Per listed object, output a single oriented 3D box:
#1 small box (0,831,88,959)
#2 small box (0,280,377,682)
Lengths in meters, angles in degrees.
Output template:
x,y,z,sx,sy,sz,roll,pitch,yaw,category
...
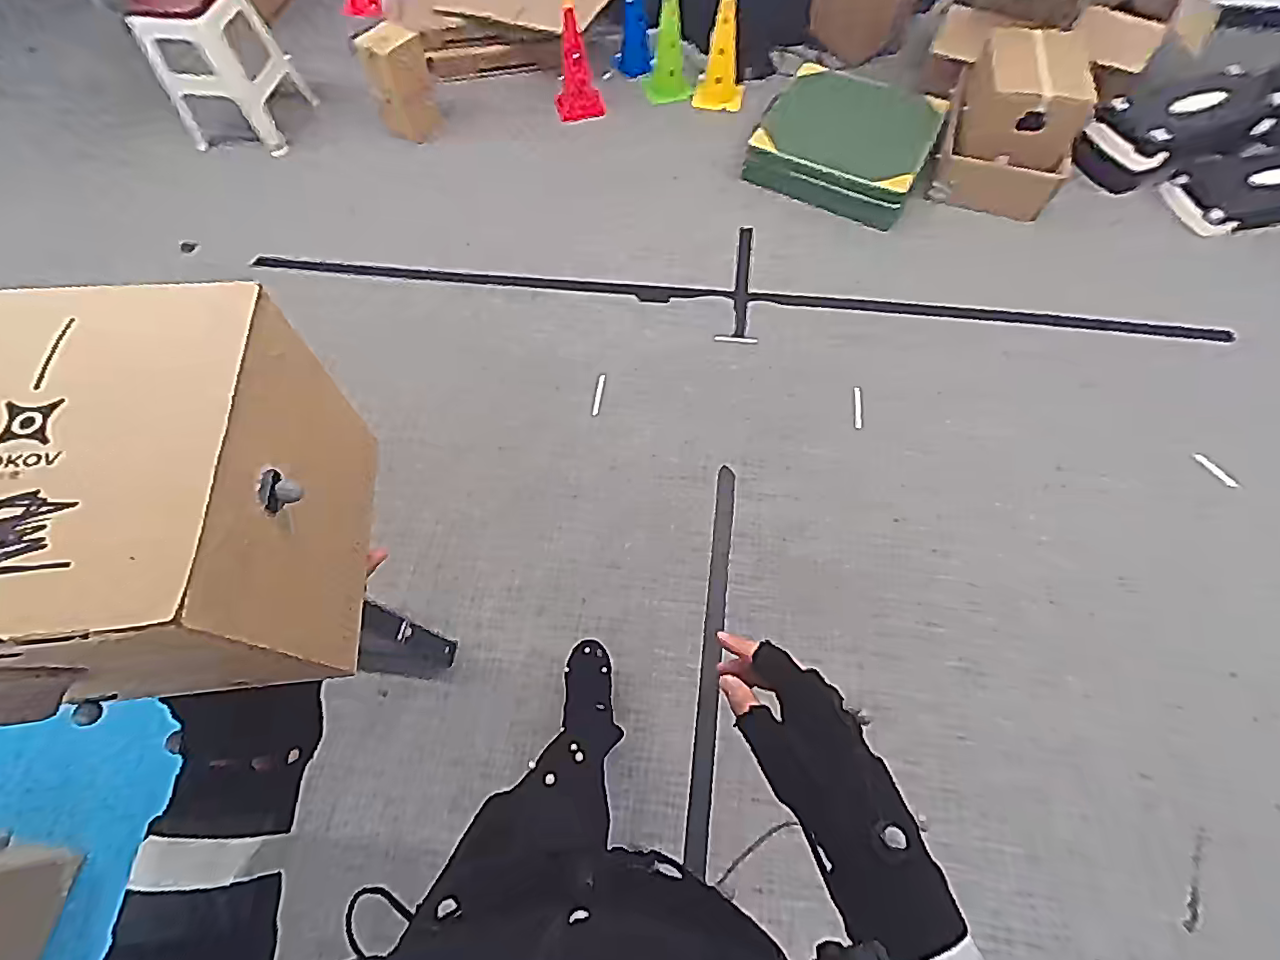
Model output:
x,y,z,sx,sy,sz,roll,pitch,yaw,category
-0.673,0.434,0.481,0.168,0.176,0.179,5,65,4,small box
-0.269,0.015,0.309,0.168,0.176,0.179,-4,65,-6,small box
